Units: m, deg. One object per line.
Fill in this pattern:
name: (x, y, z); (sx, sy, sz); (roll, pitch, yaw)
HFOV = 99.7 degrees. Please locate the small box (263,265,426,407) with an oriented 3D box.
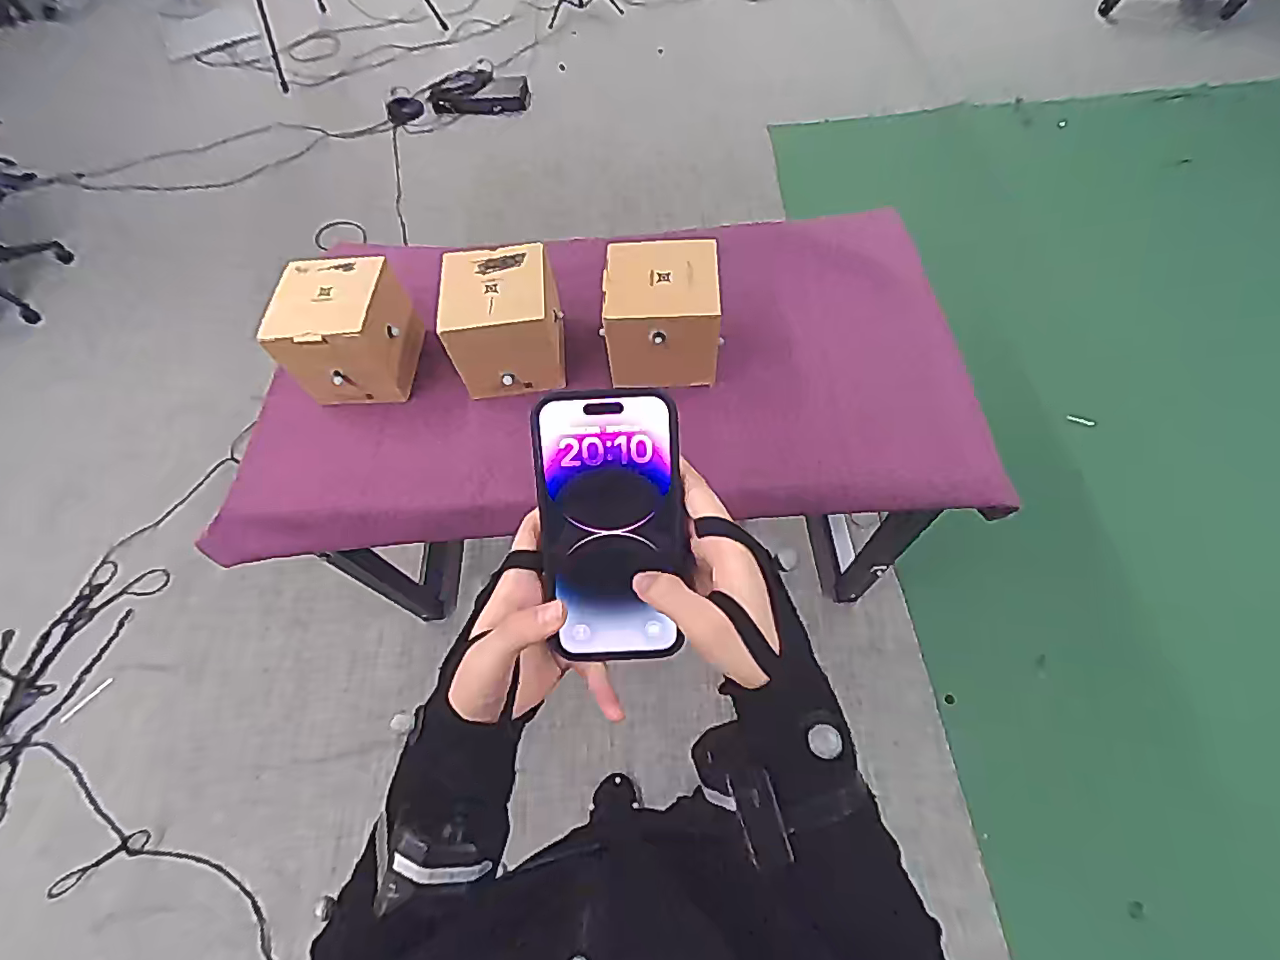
small box: (-0.490, -0.238, 0.927); (0.168, 0.176, 0.179); (-2, 61, 3)

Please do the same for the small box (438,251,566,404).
small box: (-0.222, -0.253, 0.915); (0.168, 0.176, 0.179); (-7, 61, 1)

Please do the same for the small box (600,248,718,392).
small box: (0.037, -0.259, 0.898); (0.179, 0.176, 0.168); (0, 61, 4)
